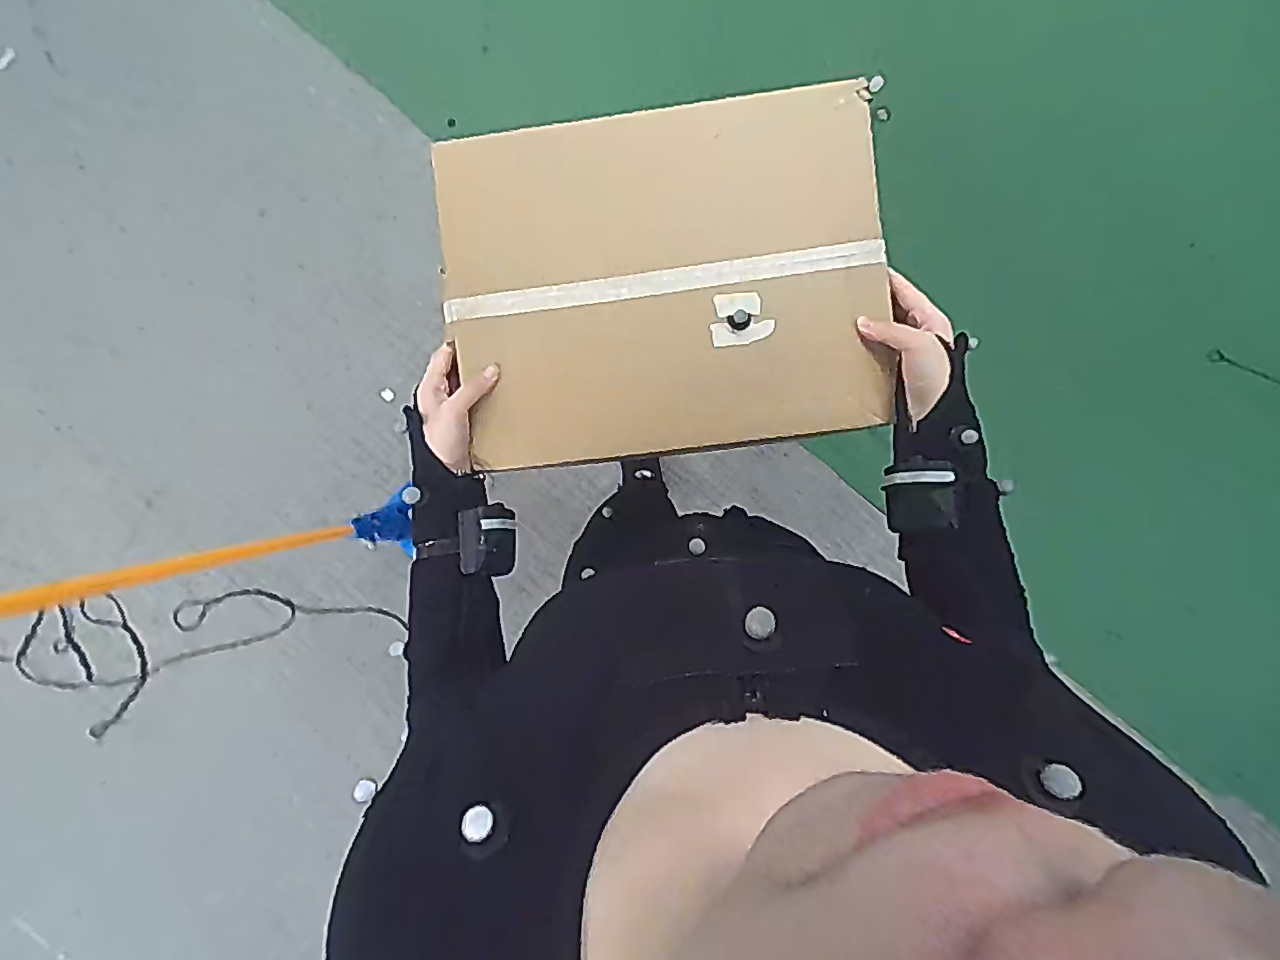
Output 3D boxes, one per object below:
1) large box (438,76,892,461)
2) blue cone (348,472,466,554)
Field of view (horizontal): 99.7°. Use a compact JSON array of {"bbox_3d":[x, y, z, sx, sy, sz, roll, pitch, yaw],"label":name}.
[{"bbox_3d":[0.025,-0.201,0.656,0.408,0.320,0.320,-6,92,2],"label":"large box"},{"bbox_3d":[-0.615,0.093,1.351,0.192,0.380,0.193,-40,89,1],"label":"blue cone"}]
